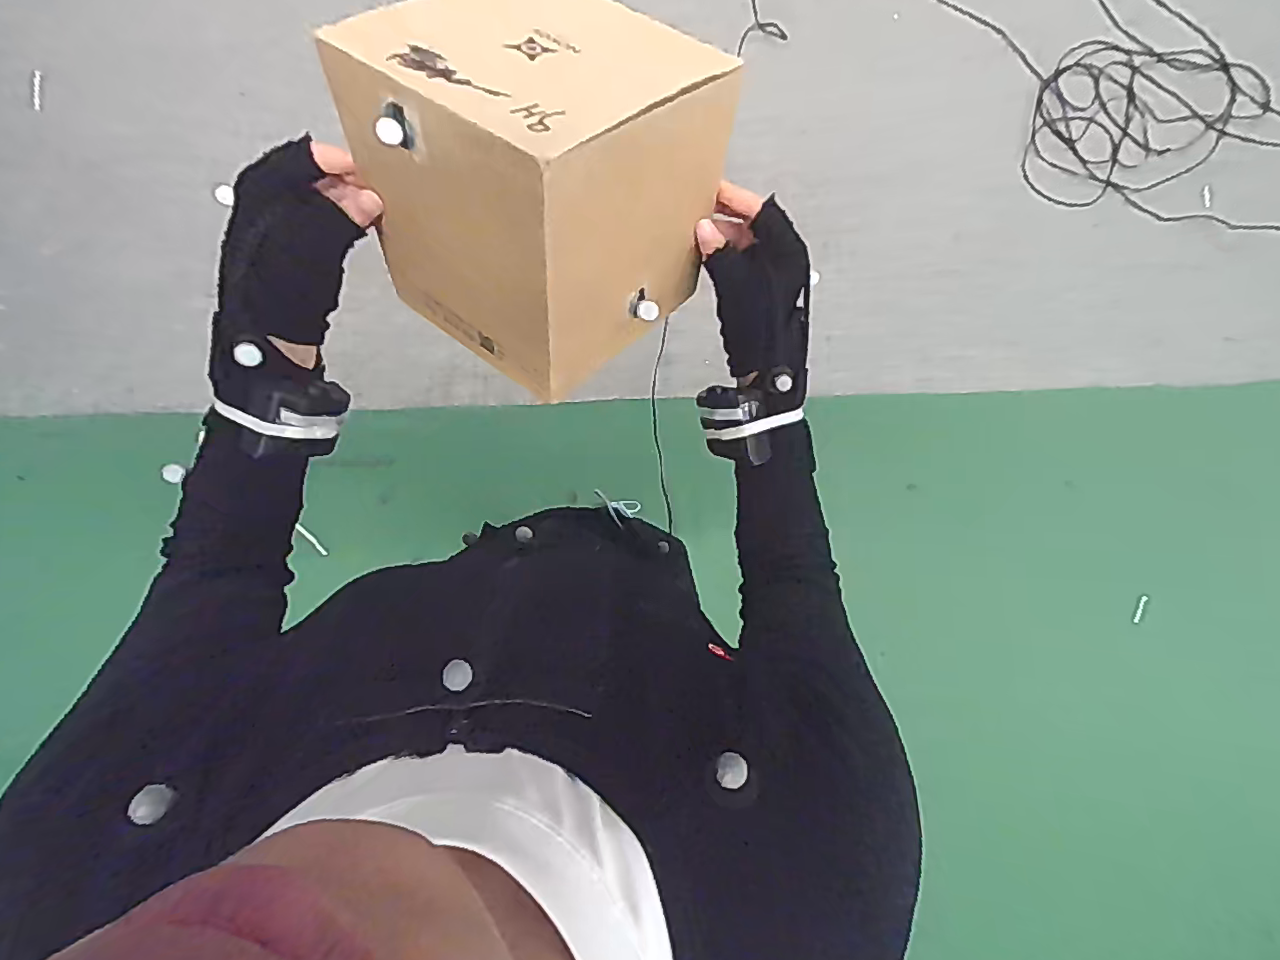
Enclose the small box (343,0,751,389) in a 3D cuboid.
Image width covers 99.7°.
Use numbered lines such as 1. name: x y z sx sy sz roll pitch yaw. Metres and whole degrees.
1. small box: -0.056 -0.200 0.374 0.168 0.176 0.179 36 60 15
